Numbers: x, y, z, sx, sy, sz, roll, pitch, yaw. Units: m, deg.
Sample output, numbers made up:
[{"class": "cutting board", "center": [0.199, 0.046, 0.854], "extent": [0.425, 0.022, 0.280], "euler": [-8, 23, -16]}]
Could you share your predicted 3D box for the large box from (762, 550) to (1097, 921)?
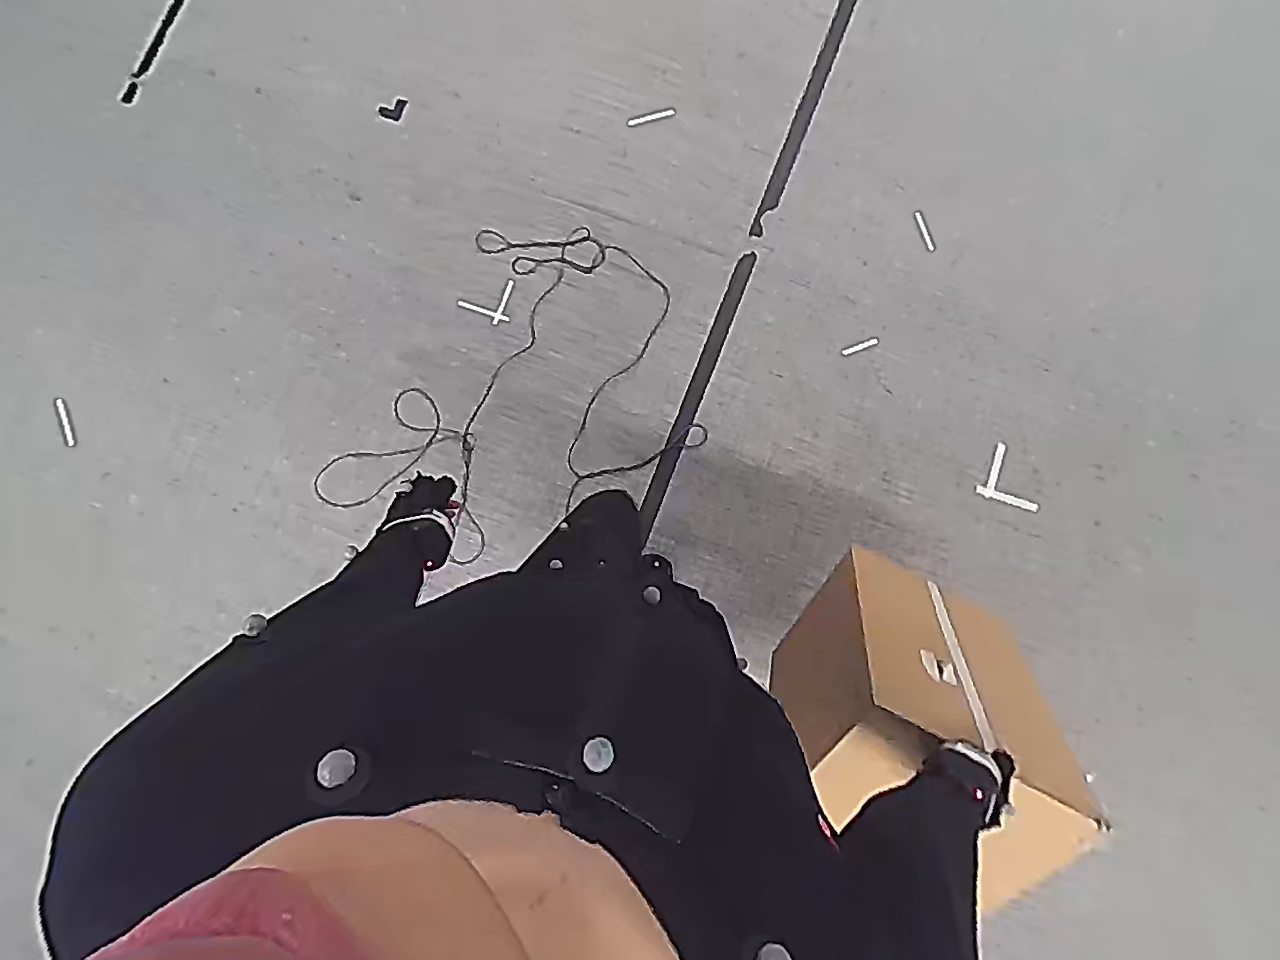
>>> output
[{"class": "large box", "center": [0.422, 0.397, 0.916], "extent": [0.320, 0.408, 0.320], "euler": [27, 118, 4]}]
